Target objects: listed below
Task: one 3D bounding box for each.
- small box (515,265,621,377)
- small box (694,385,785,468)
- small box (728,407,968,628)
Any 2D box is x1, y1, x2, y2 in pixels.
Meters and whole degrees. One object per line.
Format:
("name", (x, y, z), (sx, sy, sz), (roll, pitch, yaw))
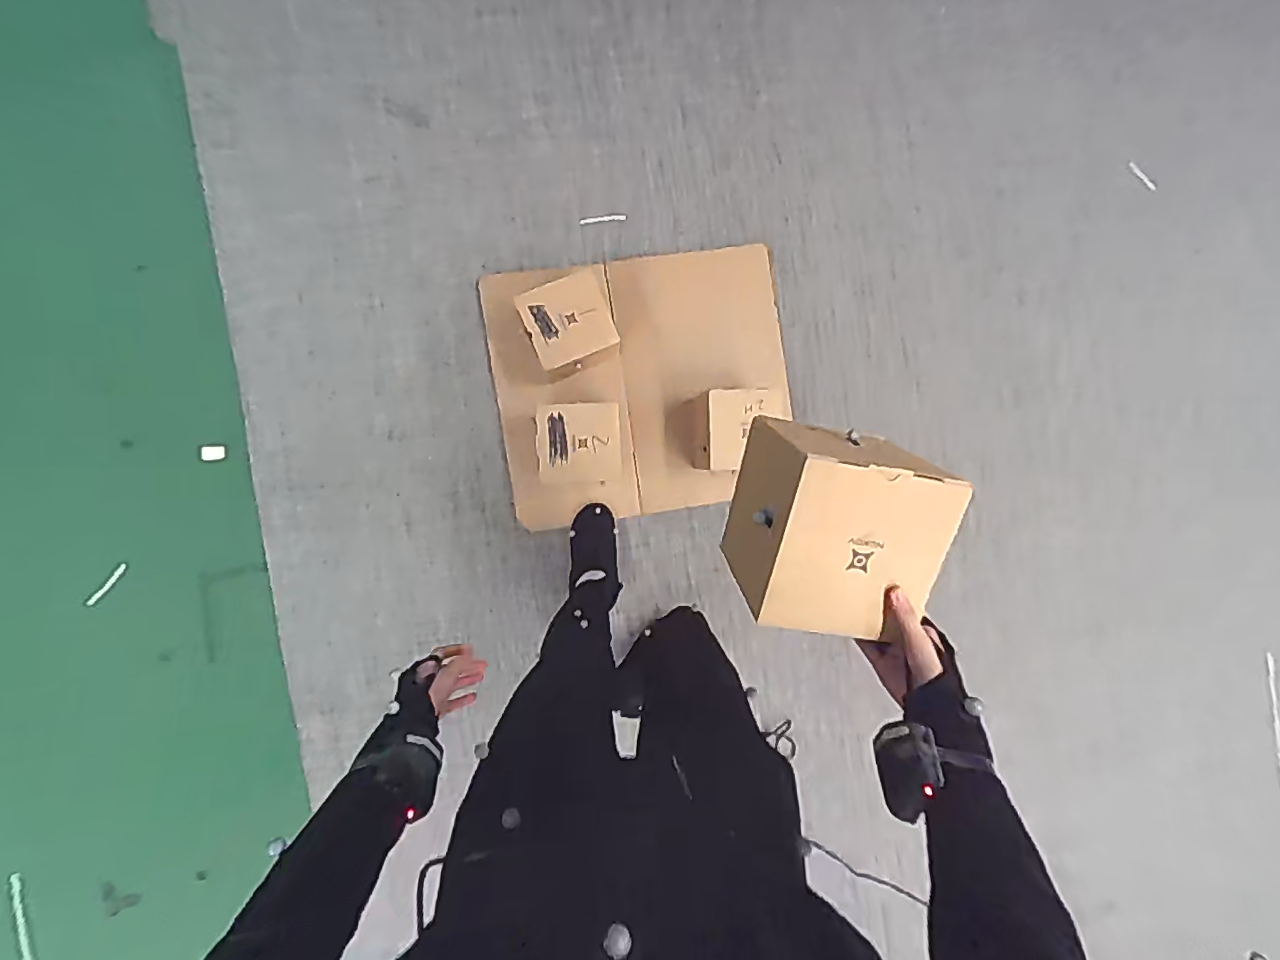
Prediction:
("small box", (-0.155, -0.340, 1.191), (0.179, 0.176, 0.168), (-23, 94, -6))
("small box", (0.221, -0.118, 1.229), (0.168, 0.176, 0.179), (-1, 92, -6))
("small box", (0.202, 0.031, 0.586), (0.168, 0.176, 0.179), (9, 107, -6))
